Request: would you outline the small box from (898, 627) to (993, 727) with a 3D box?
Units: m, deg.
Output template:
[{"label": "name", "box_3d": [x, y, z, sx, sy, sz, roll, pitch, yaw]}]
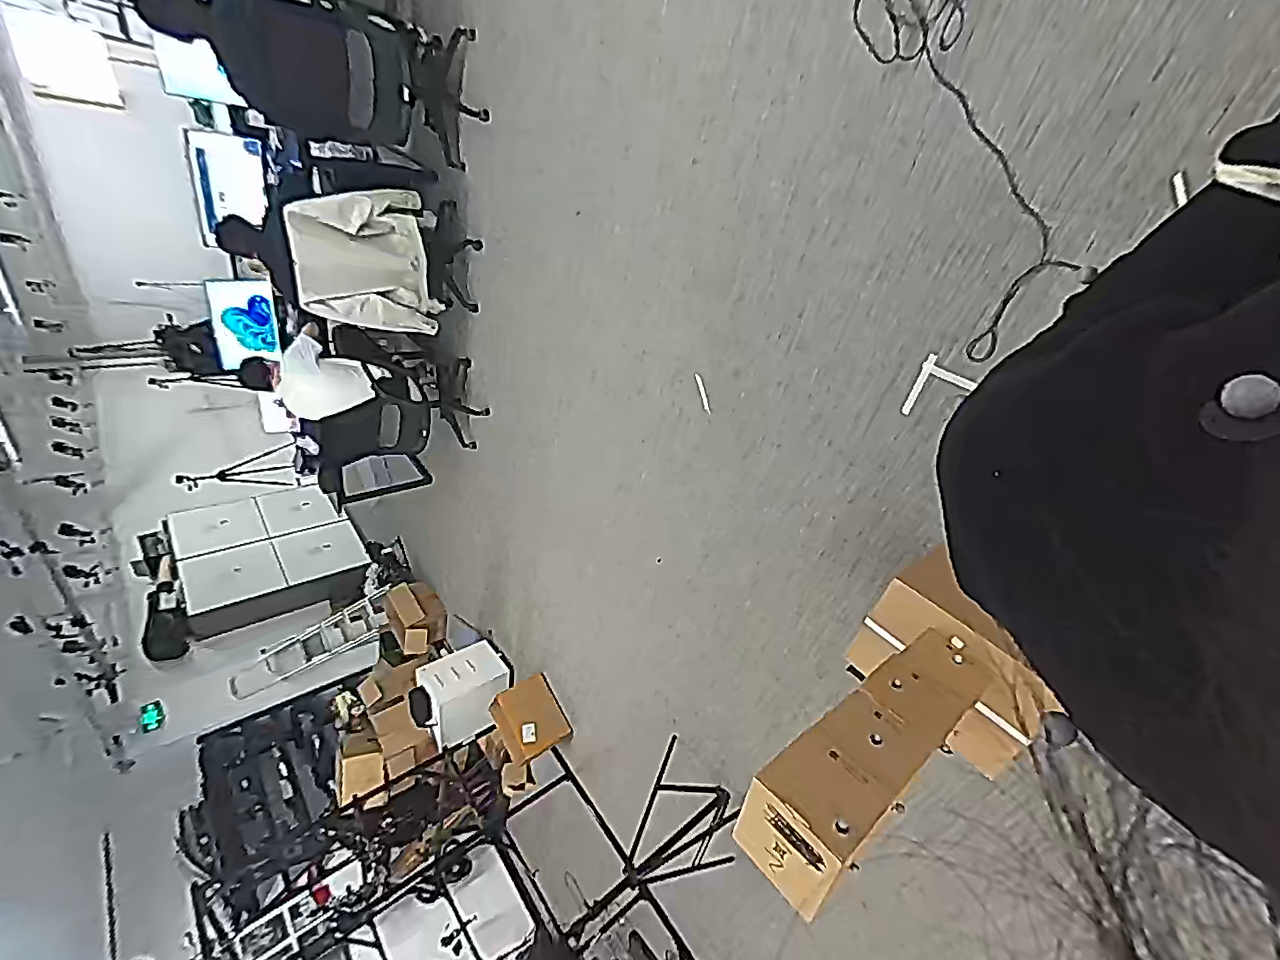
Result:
[{"label": "small box", "box_3d": [0.657, 0.470, 1.225, 0.168, 0.176, 0.179, 39, 129, 35]}]

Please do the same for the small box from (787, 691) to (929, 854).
[{"label": "small box", "box_3d": [0.412, 0.539, 1.019, 0.168, 0.176, 0.179, 35, 127, 40]}]

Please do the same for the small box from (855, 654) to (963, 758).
[{"label": "small box", "box_3d": [0.534, 0.498, 1.123, 0.168, 0.176, 0.179, 39, 131, 37]}]
